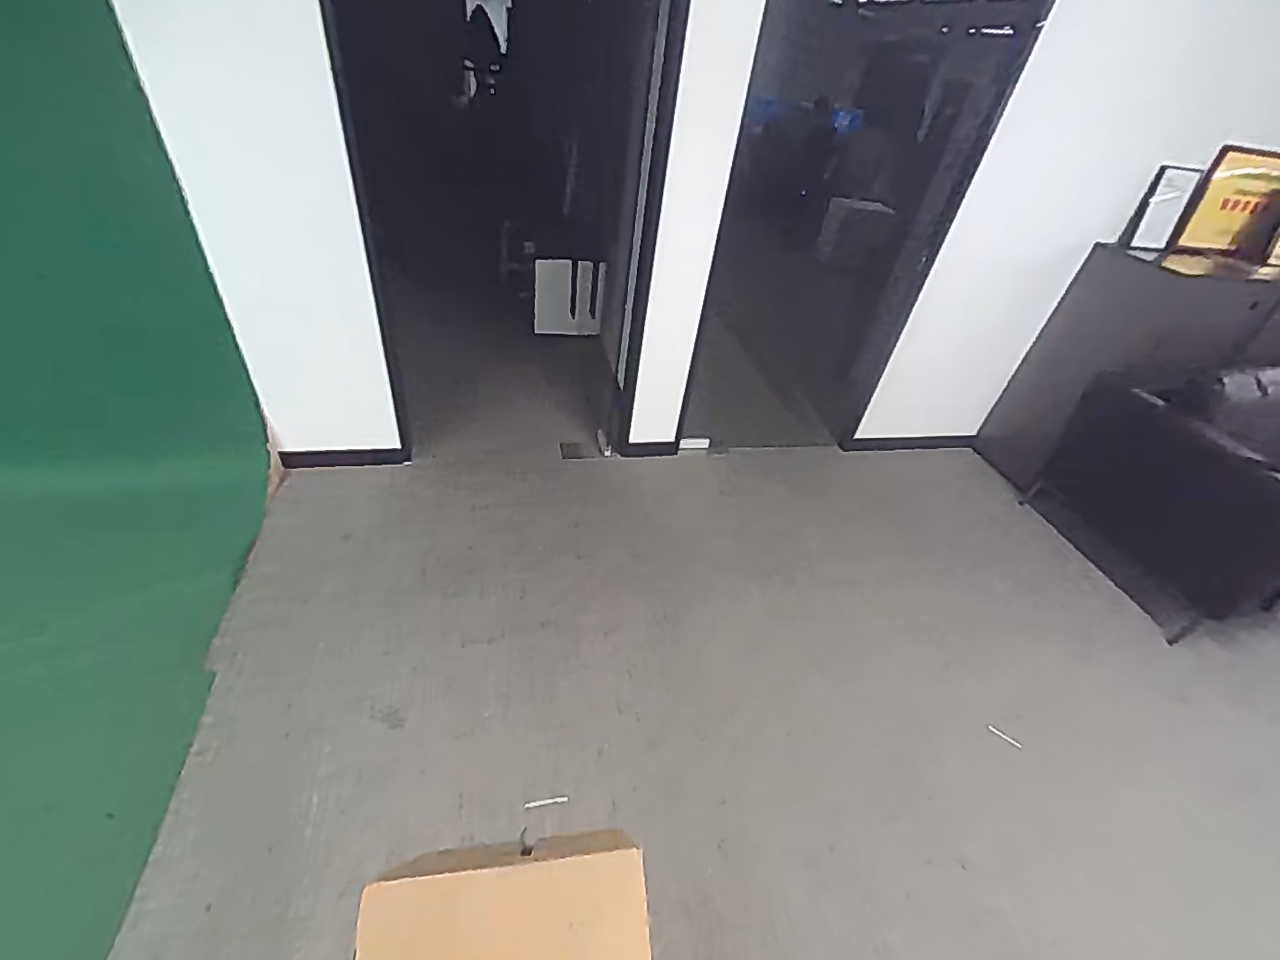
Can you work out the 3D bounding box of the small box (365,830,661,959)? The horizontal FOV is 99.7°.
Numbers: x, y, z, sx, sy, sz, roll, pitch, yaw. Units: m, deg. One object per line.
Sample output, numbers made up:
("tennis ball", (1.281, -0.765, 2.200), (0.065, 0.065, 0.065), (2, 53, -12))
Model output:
("small box", (-0.079, 0.356, 0.377), (0.179, 0.176, 0.168), (-2, 62, -7))
